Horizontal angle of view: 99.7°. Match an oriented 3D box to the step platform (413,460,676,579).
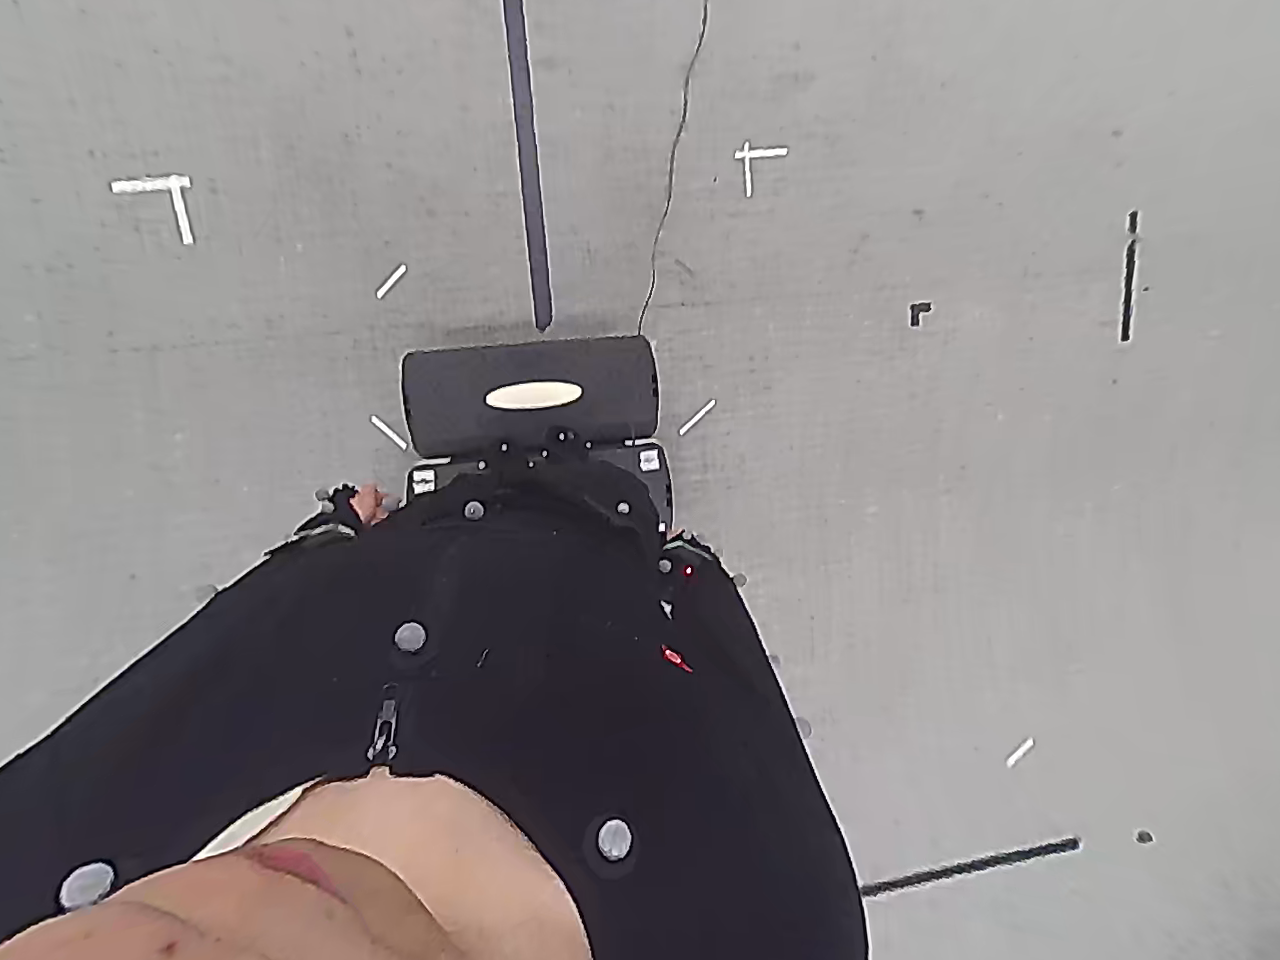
[{"bbox_3d":[-0.243,0.101,1.460,0.684,0.204,0.286,-2,96,-6],"label":"step platform"}]
